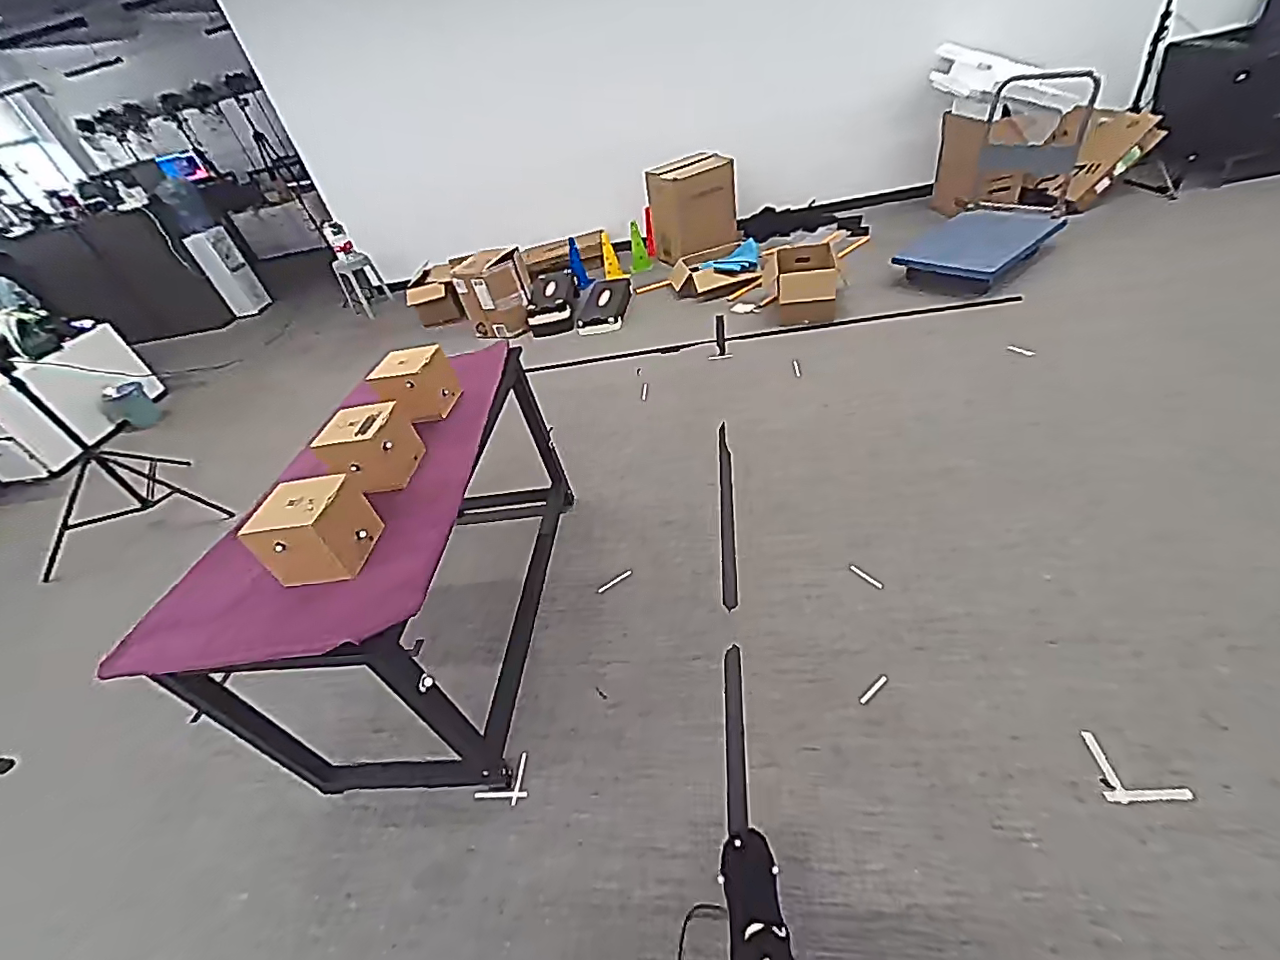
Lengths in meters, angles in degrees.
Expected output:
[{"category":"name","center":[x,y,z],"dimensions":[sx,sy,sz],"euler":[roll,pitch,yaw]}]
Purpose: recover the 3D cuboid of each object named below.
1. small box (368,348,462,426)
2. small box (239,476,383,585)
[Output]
[{"category":"small box","center":[-0.676,-0.279,1.644],"dimensions":[0.179,0.176,0.168],"euler":[-5,41,13]},{"category":"small box","center":[-0.709,0.115,1.188],"dimensions":[0.179,0.176,0.168],"euler":[-7,39,8]}]
